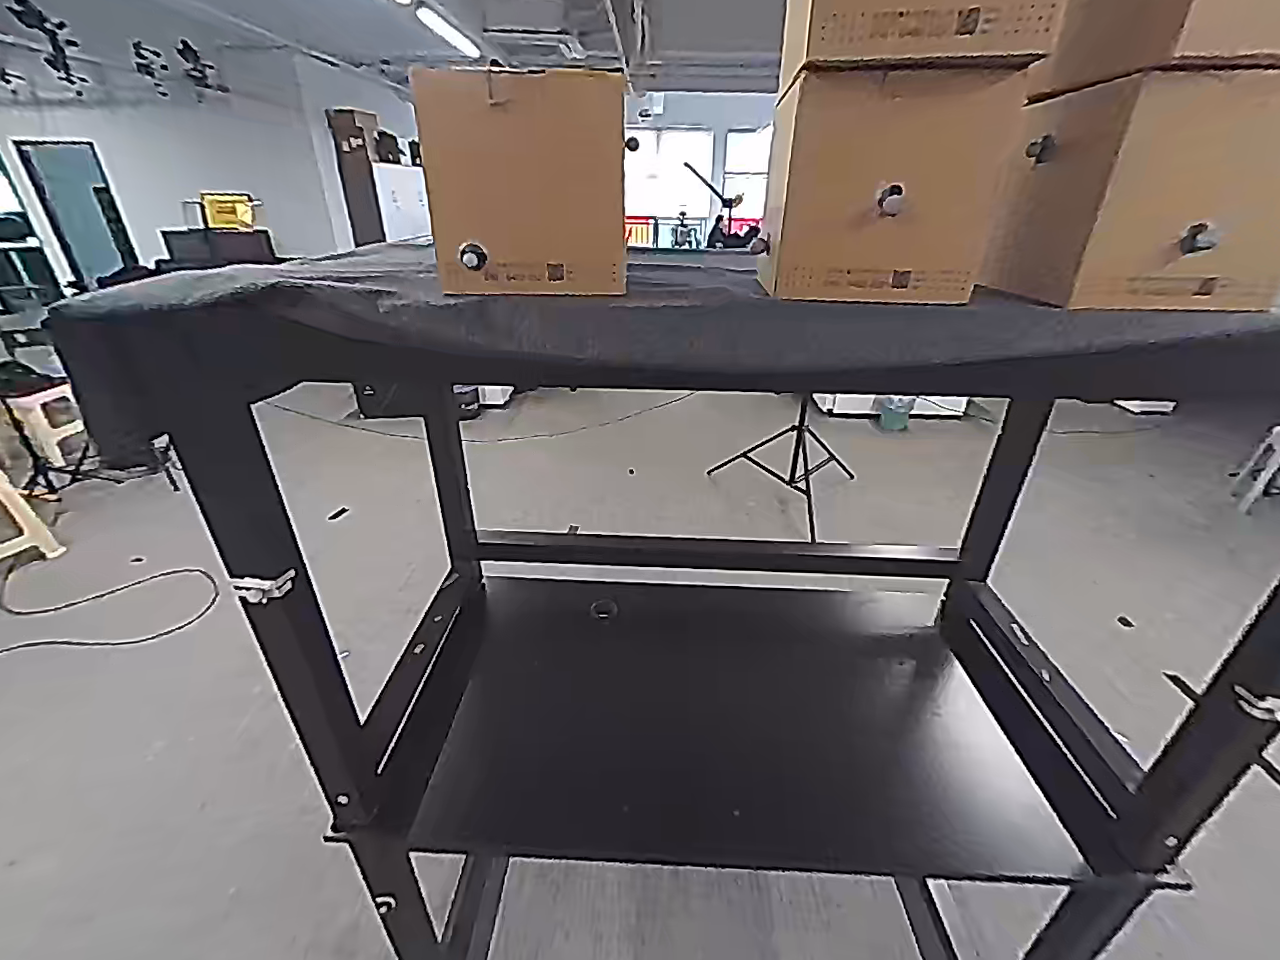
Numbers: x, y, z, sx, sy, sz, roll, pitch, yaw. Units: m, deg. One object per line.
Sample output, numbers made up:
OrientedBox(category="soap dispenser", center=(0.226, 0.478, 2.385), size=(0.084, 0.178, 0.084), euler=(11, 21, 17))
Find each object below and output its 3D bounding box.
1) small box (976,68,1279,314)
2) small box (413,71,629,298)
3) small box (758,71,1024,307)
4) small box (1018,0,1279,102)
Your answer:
OrientedBox(category="small box", center=(0.444, -0.253, 0.492), size=(0.168, 0.176, 0.179), euler=(1, 27, 4))
OrientedBox(category="small box", center=(-0.095, -0.273, 0.524), size=(0.168, 0.176, 0.179), euler=(0, 25, -1))
OrientedBox(category="small box", center=(0.207, -0.261, 0.506), size=(0.168, 0.176, 0.179), euler=(3, 27, 5))
OrientedBox(category="small box", center=(0.445, -0.397, 0.405), size=(0.179, 0.176, 0.168), euler=(1, 26, -1))
